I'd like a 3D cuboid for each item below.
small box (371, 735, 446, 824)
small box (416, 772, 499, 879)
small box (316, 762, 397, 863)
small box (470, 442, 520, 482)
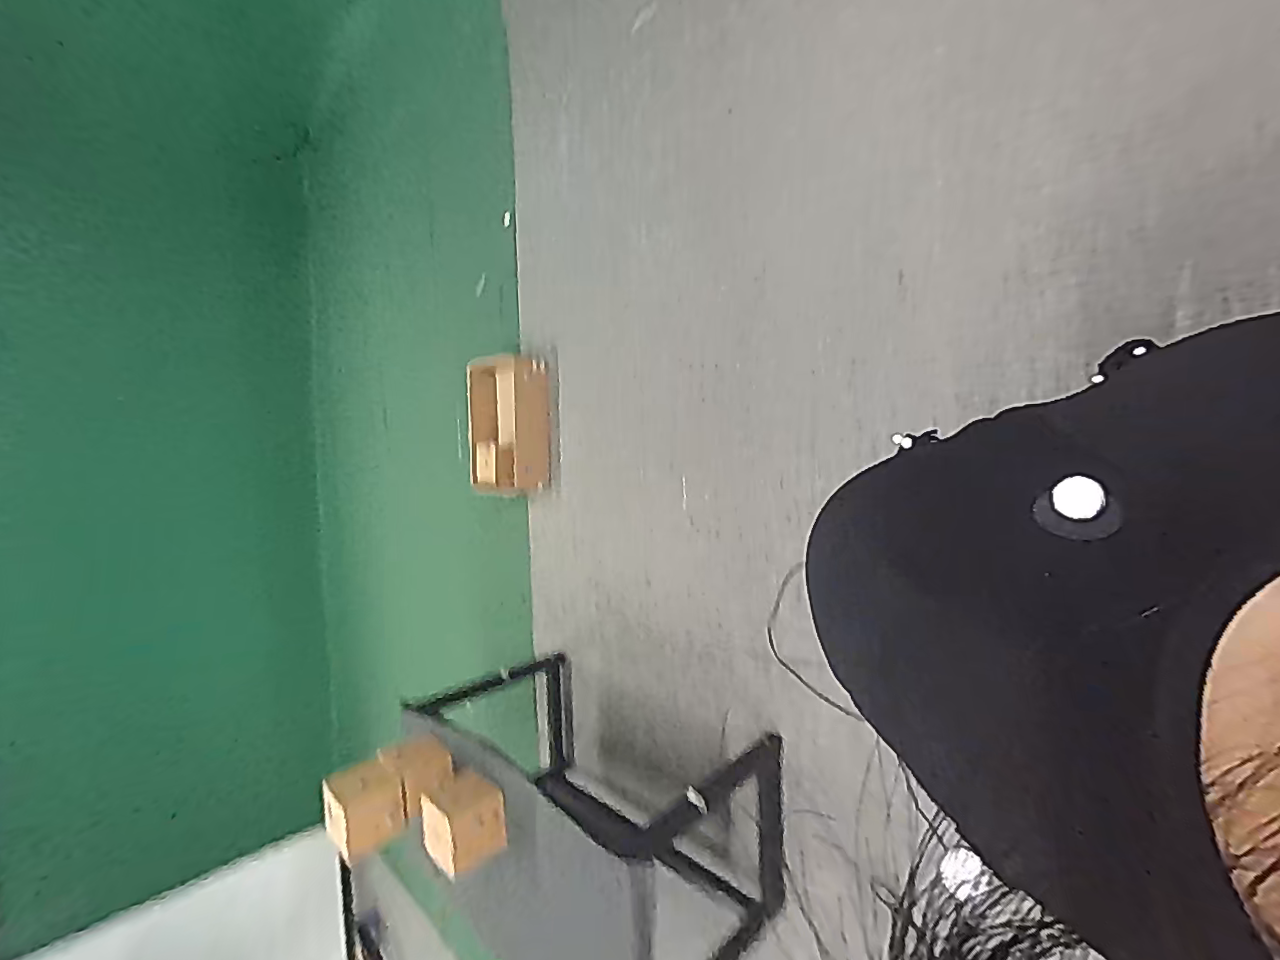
[{"bbox_3d":[-0.746,0.956,1.746,0.179,0.176,0.168,7,100,41],"label":"small box"},{"bbox_3d":[-0.512,0.967,1.535,0.179,0.176,0.168,0,94,44],"label":"small box"},{"bbox_3d":[-0.847,0.981,1.618,0.179,0.176,0.168,5,99,41],"label":"small box"},{"bbox_3d":[-0.677,-0.086,2.538,0.168,0.176,0.179,4,96,42],"label":"small box"}]
